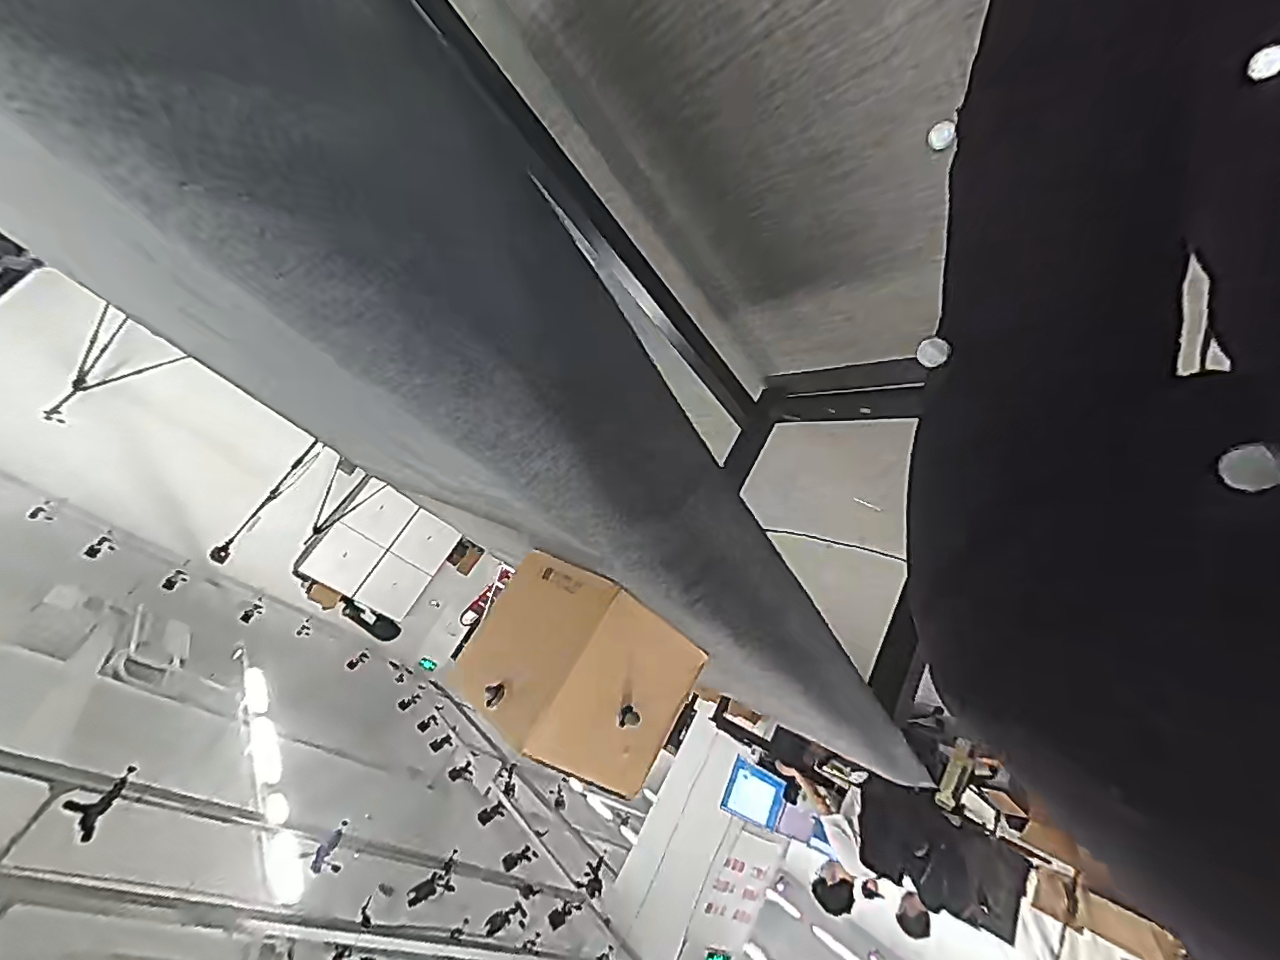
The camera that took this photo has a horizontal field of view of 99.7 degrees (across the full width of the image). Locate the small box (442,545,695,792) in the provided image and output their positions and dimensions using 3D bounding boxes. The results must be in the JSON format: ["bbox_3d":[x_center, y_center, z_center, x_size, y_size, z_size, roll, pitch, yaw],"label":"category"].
[{"bbox_3d":[-0.071,0.196,0.590,0.168,0.176,0.179,10,152,49],"label":"small box"}]
